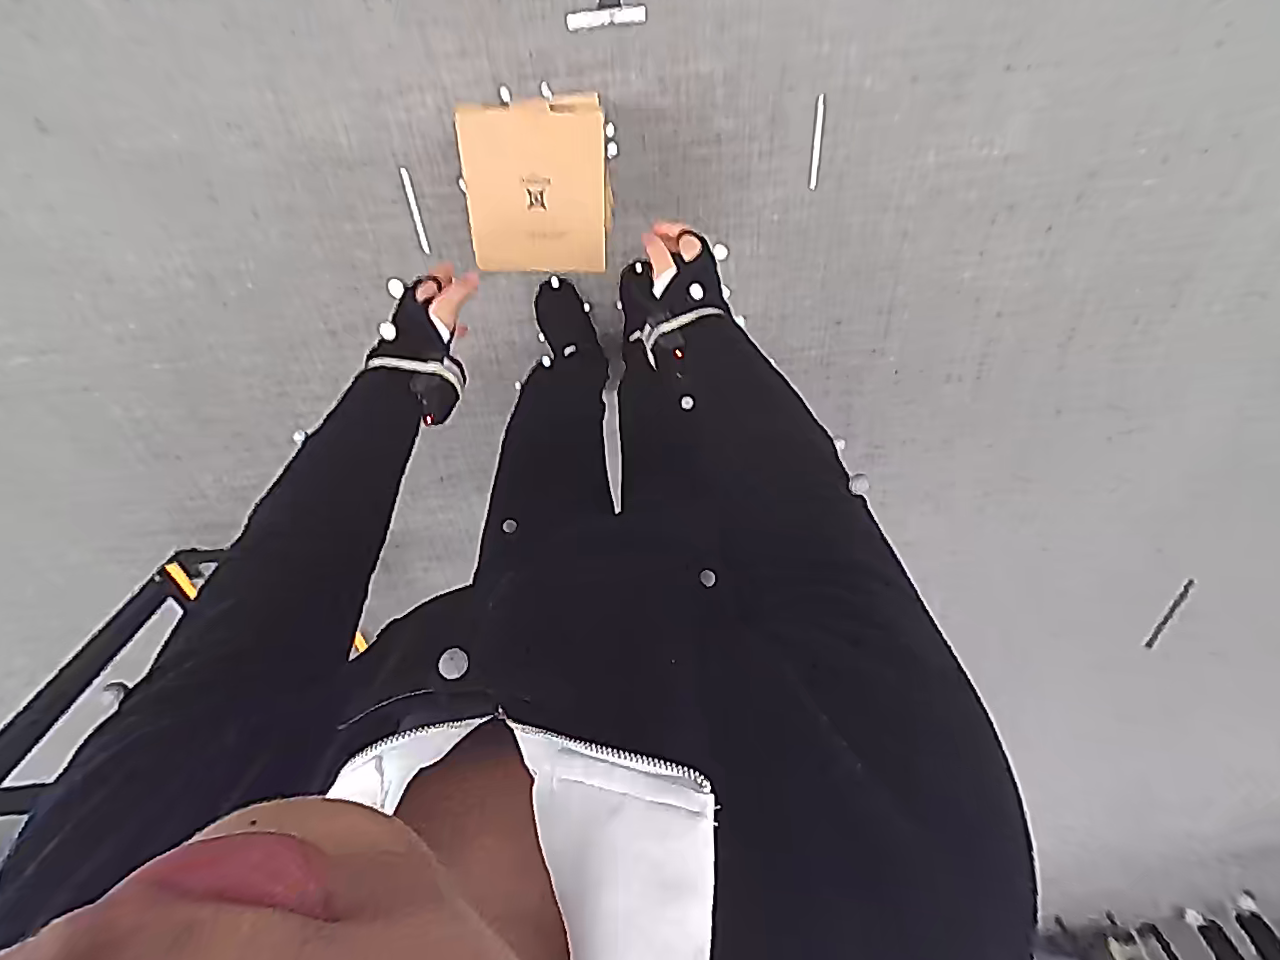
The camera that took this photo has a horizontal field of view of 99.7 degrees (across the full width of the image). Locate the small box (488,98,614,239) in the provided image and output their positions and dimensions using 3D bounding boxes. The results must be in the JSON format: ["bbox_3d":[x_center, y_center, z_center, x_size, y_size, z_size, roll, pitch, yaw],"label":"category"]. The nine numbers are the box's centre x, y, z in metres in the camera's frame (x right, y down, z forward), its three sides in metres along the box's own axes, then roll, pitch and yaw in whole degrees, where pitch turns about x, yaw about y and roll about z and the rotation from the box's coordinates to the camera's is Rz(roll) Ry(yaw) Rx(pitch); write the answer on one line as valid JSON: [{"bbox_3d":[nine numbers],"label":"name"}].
[{"bbox_3d":[-0.132,-0.475,0.834,0.168,0.176,0.179,-5,125,0],"label":"small box"}]

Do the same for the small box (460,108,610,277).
[{"bbox_3d":[-0.123,-0.377,0.704,0.168,0.176,0.179,0,126,-3],"label":"small box"}]
